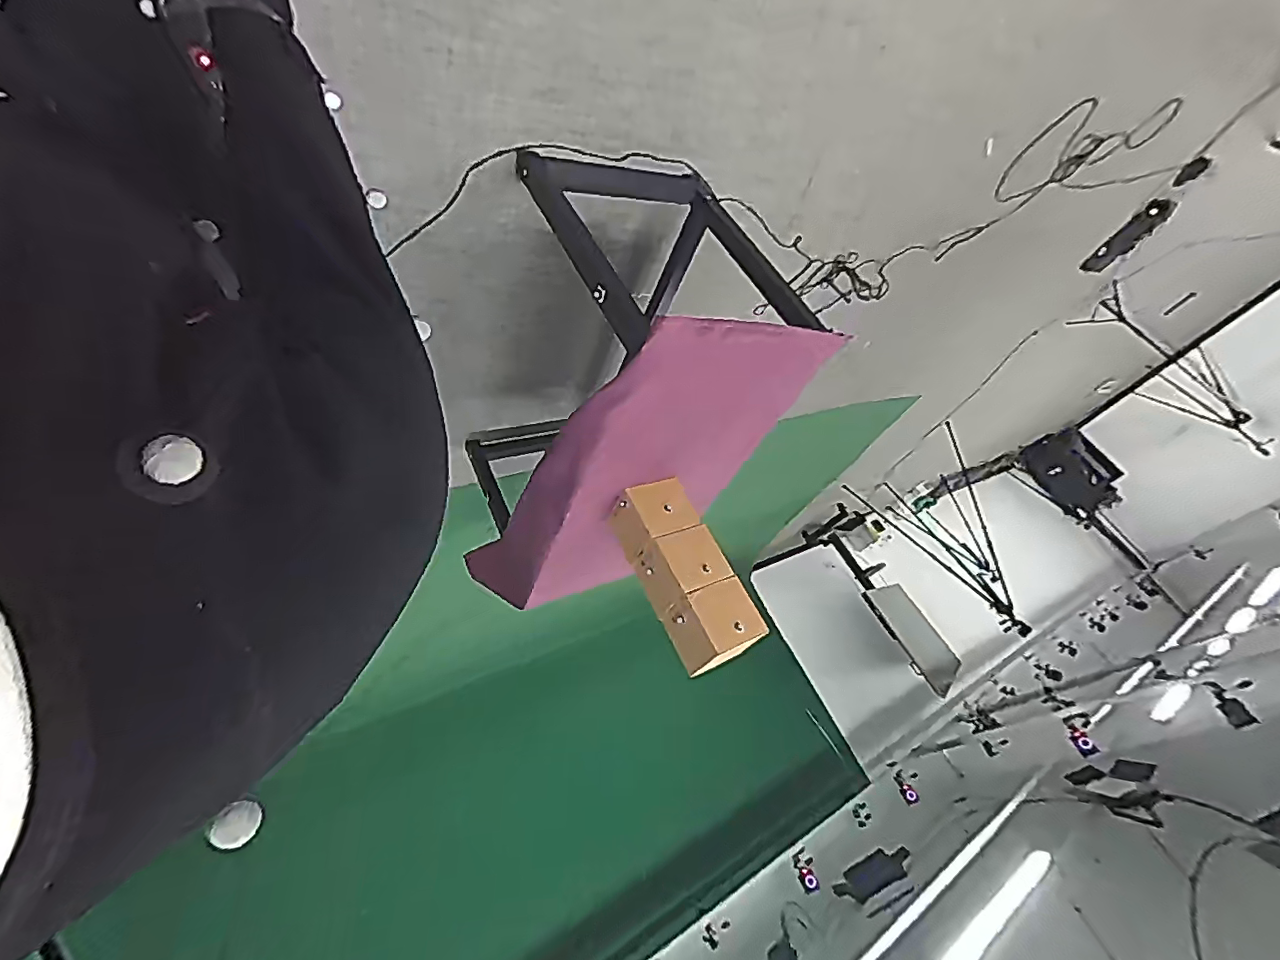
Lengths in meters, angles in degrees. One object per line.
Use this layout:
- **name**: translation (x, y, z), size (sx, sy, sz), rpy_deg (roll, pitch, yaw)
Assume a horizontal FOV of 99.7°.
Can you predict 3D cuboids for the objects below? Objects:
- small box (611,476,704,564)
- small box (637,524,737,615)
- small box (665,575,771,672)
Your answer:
- **small box**: translation (0.043, 0.108, 1.535), size (0.179, 0.176, 0.168), rpy_deg (-12, 151, -33)
- **small box**: translation (0.122, 0.237, 1.469), size (0.179, 0.176, 0.168), rpy_deg (-11, 150, -32)
- **small box**: translation (0.197, 0.366, 1.403), size (0.179, 0.176, 0.168), rpy_deg (-12, 150, -32)
